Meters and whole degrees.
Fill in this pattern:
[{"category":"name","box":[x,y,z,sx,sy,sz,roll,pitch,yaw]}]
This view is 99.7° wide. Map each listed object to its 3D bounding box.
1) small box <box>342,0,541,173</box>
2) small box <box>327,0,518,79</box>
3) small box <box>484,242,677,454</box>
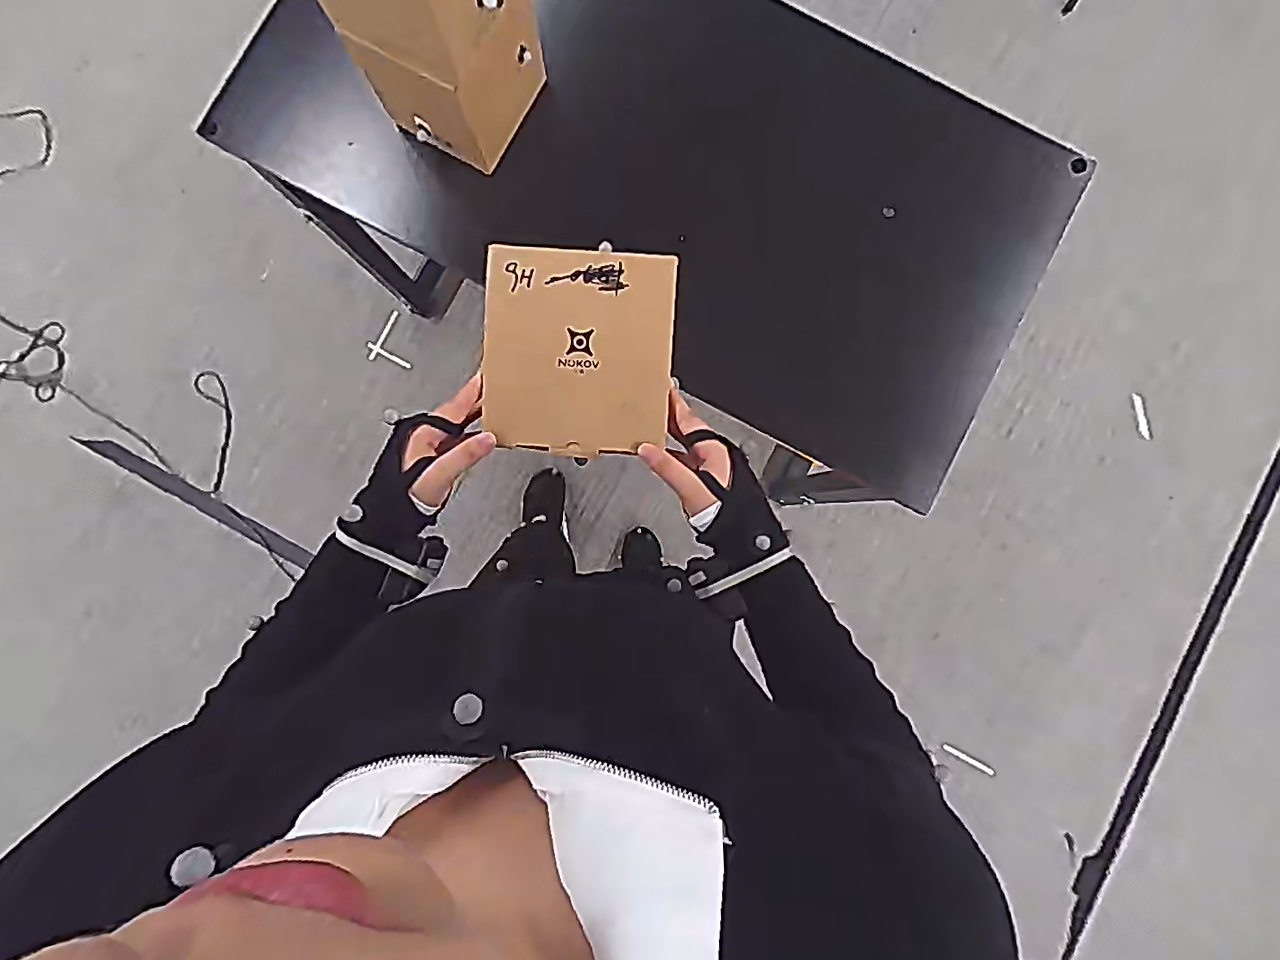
[{"category":"small box","box":[-0.247,-0.566,0.727,0.168,0.176,0.179,28,87,1]},{"category":"small box","box":[-0.245,-0.575,0.563,0.179,0.176,0.168,27,86,0]},{"category":"small box","box":[-0.054,-0.123,0.556,0.168,0.176,0.179,4,95,-1]}]
